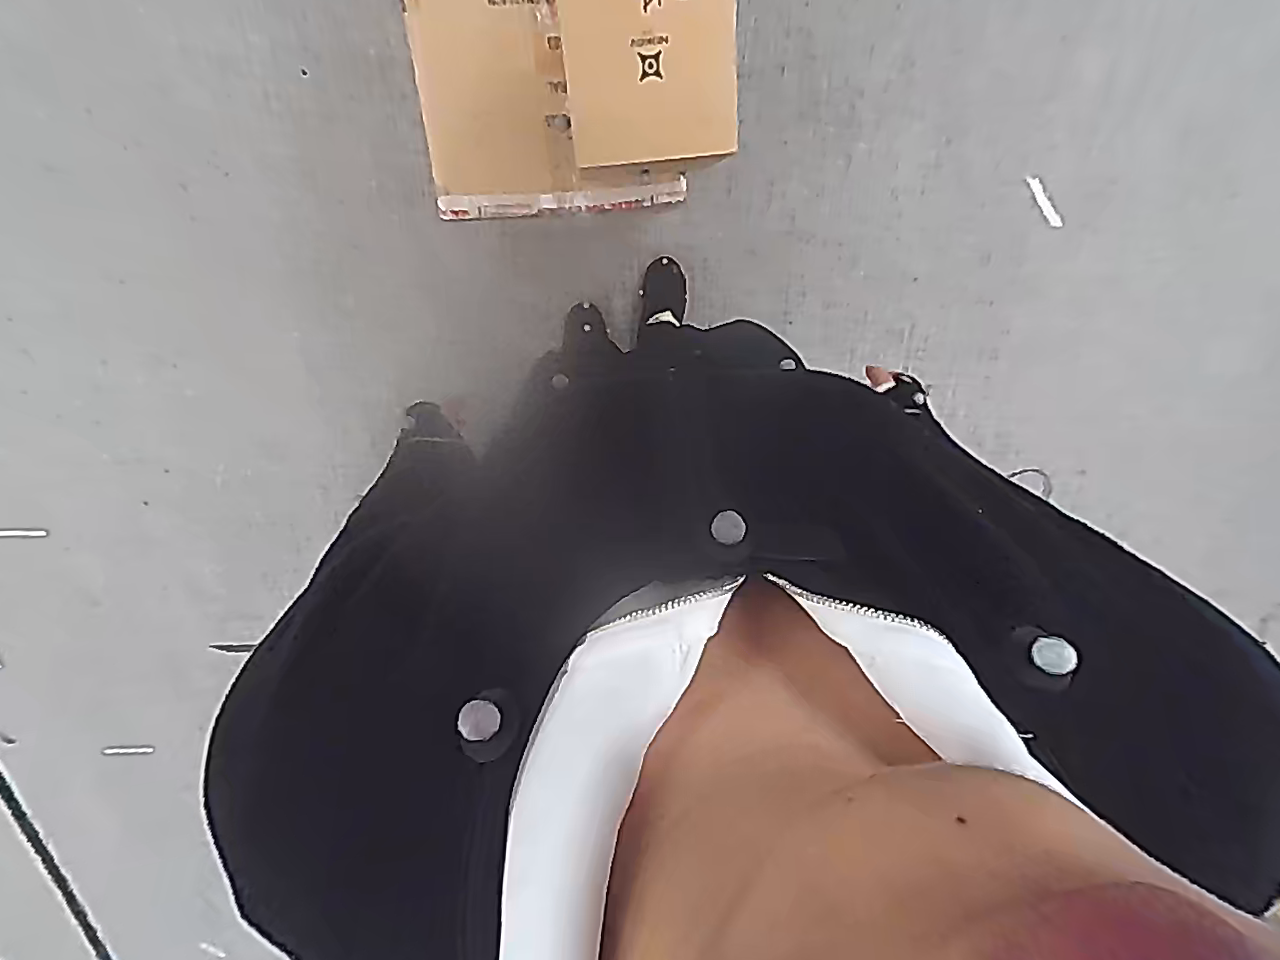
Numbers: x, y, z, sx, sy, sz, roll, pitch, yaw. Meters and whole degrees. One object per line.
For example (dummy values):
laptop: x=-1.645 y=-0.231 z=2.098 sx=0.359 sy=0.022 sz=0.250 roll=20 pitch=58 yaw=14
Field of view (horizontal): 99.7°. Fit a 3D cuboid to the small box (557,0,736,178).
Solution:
small box: x=0.004 y=-0.434 z=0.585 sx=0.168 sy=0.176 sz=0.179 roll=-7 pitch=115 yaw=-3
